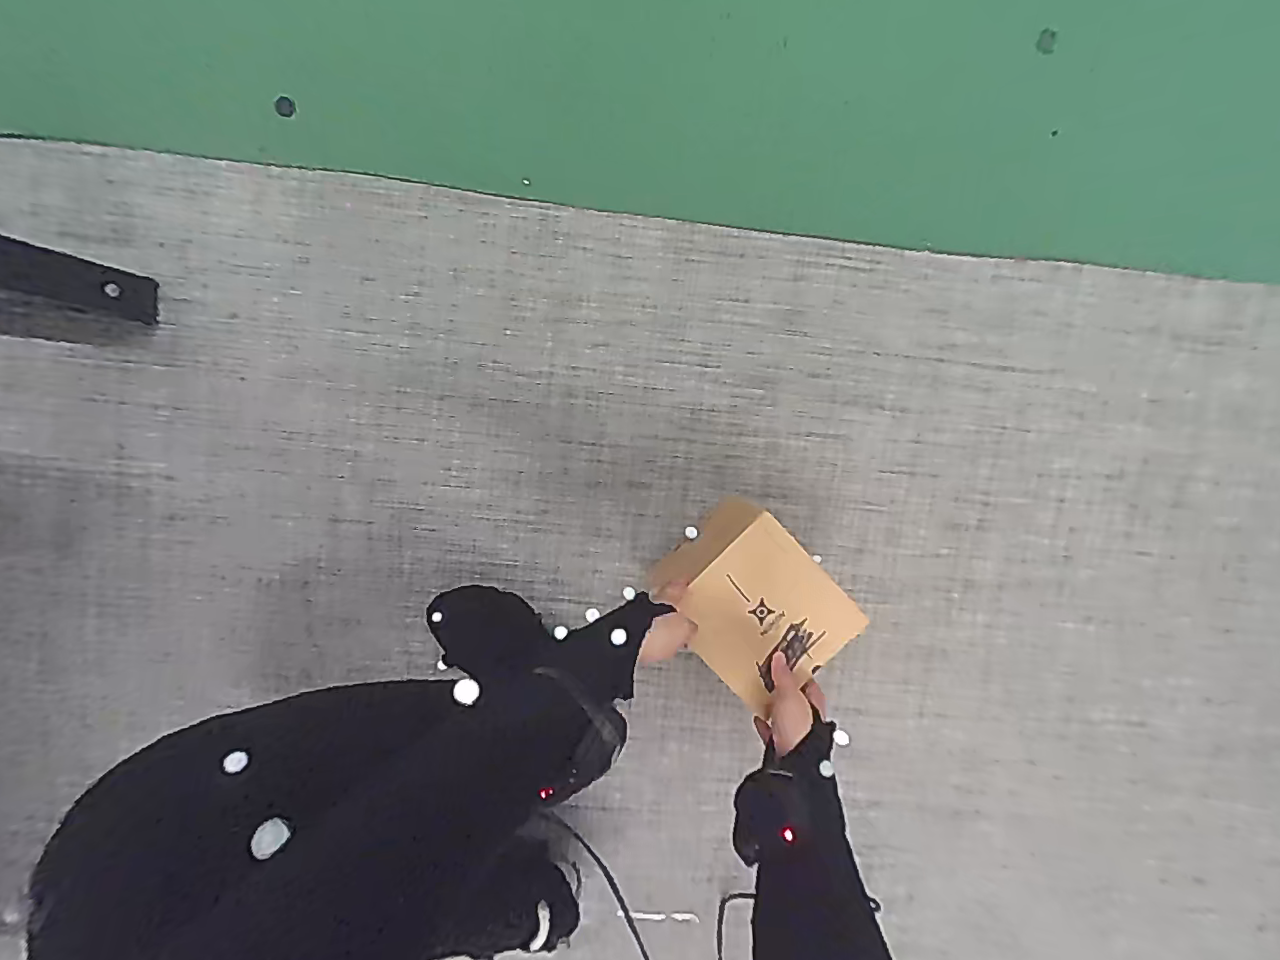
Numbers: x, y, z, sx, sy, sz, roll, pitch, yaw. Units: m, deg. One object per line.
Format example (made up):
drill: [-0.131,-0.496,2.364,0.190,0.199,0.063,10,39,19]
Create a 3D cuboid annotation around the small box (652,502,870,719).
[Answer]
small box: [0.135,0.144,0.668,0.168,0.176,0.179,-43,96,-1]
